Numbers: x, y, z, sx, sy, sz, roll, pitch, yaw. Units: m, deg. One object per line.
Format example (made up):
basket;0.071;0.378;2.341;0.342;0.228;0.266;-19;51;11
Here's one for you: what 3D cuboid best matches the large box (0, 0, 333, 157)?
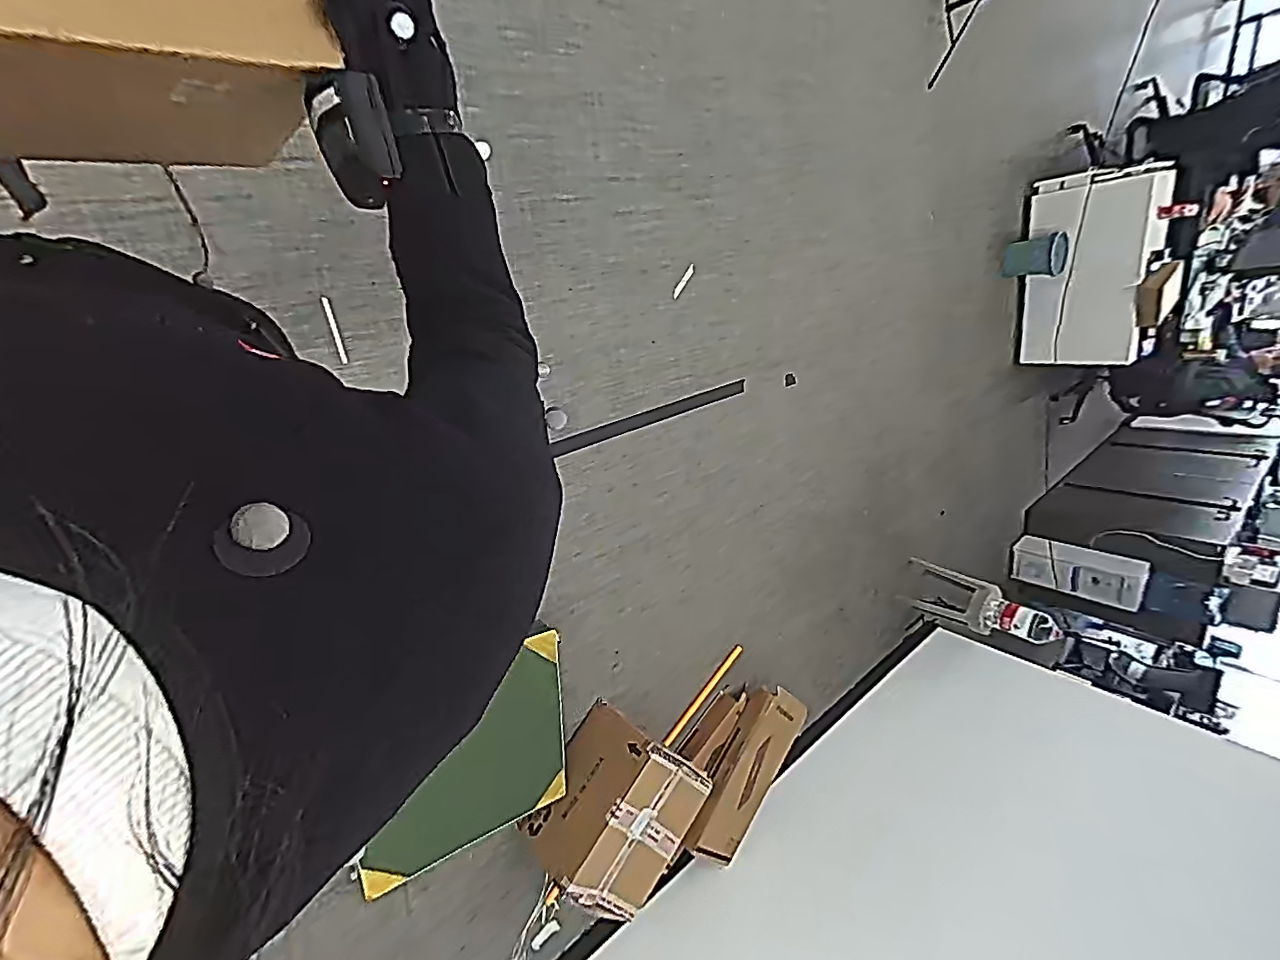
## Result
large box;-0.450;-0.367;0.269;0.408;0.320;0.320;-23;119;-36
